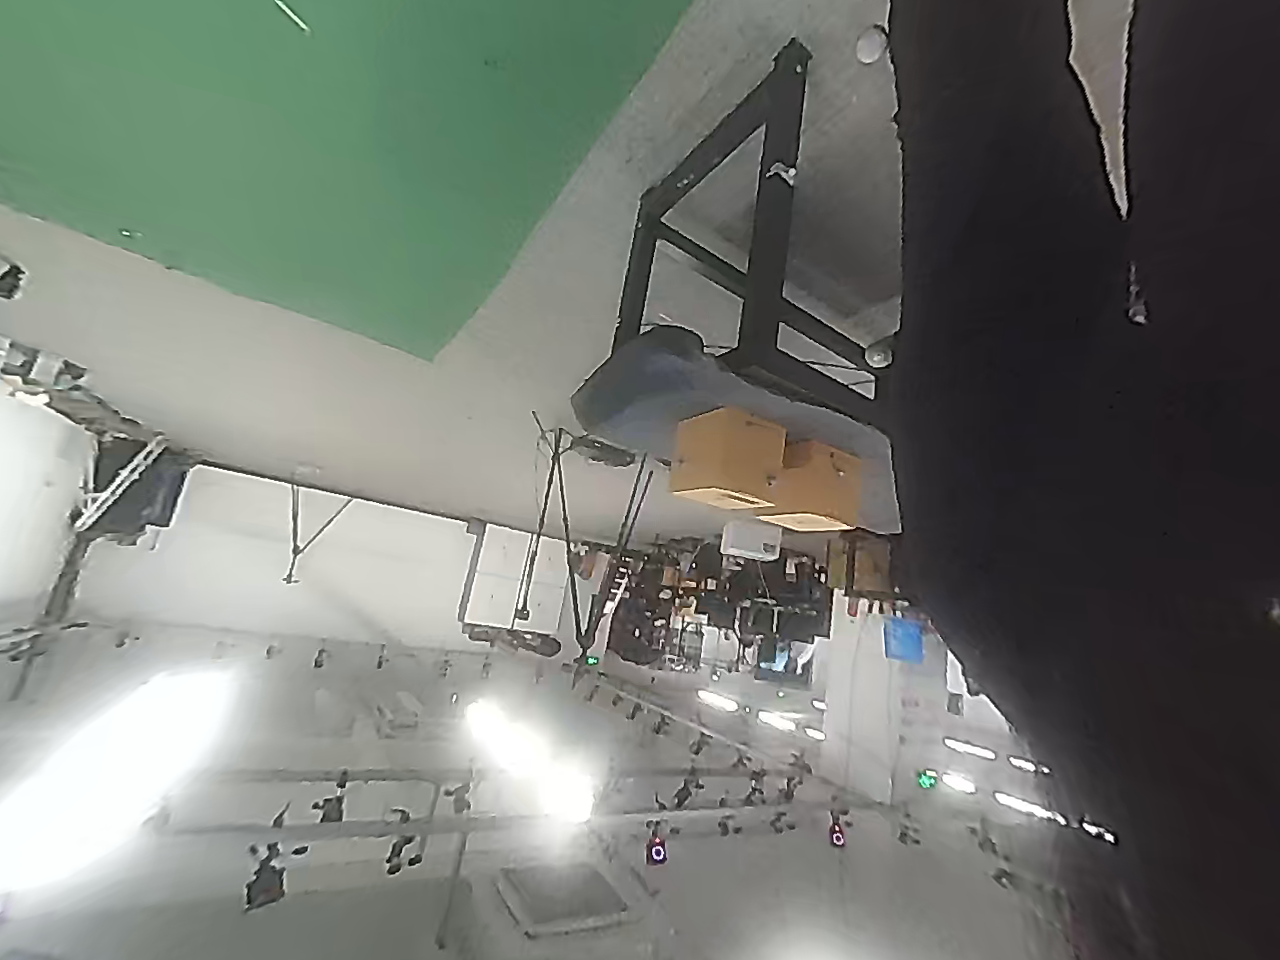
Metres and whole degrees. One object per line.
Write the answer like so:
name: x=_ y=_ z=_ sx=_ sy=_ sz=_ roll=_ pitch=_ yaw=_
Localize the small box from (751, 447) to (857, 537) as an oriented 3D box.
small box: x=0.389 y=0.032 z=1.273 sx=0.168 sy=0.176 sz=0.179 roll=17 pitch=165 yaw=-29
